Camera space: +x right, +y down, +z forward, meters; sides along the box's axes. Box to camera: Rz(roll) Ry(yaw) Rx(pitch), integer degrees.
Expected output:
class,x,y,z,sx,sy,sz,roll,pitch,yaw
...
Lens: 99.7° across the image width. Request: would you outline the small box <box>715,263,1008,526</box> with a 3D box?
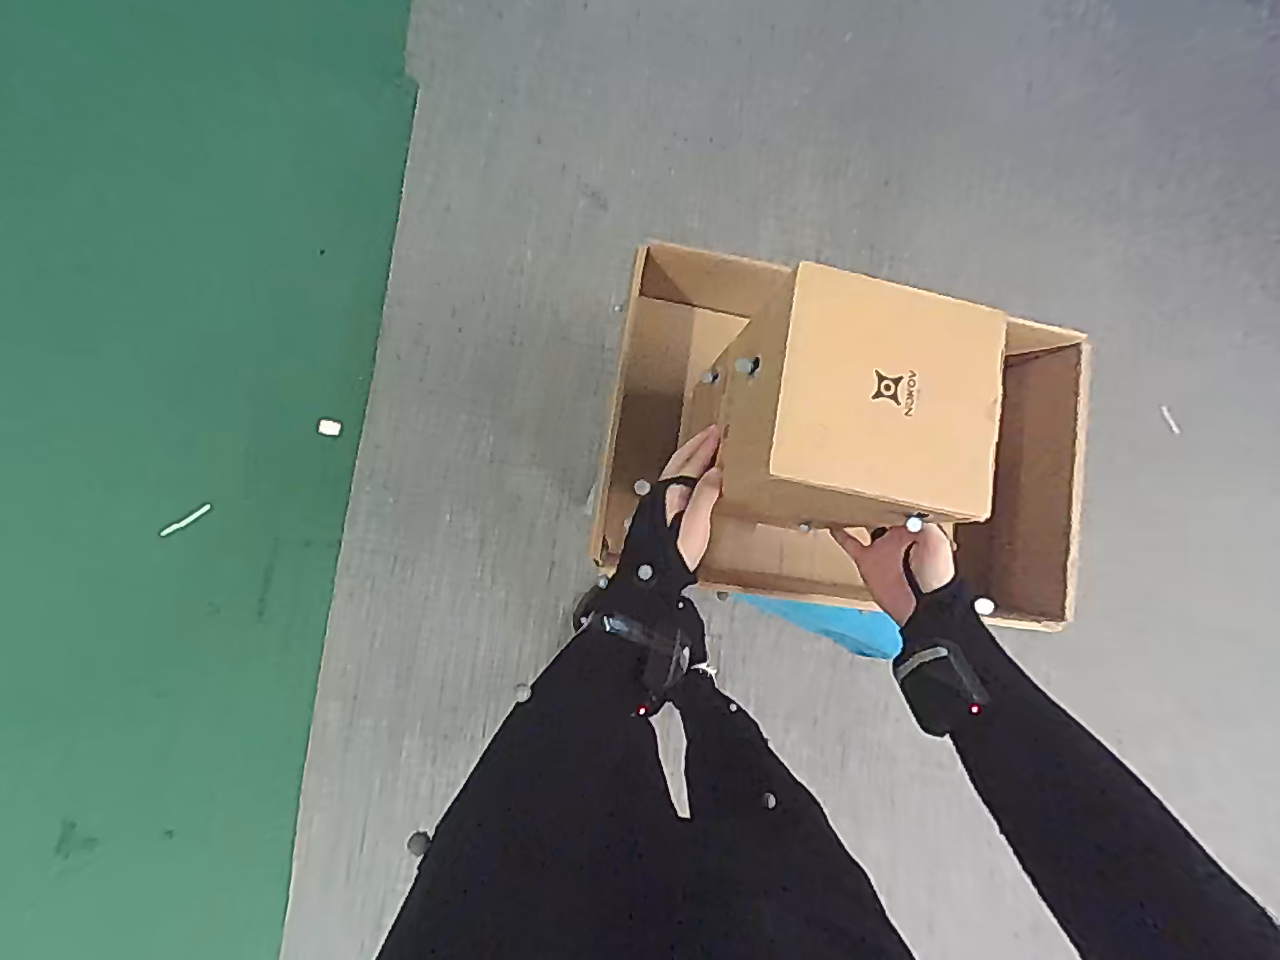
class,x,y,z,sx,sy,sz,roll,pitch,yaw
small box,0.175,-0.055,0.473,0.179,0.176,0.168,11,81,-7
